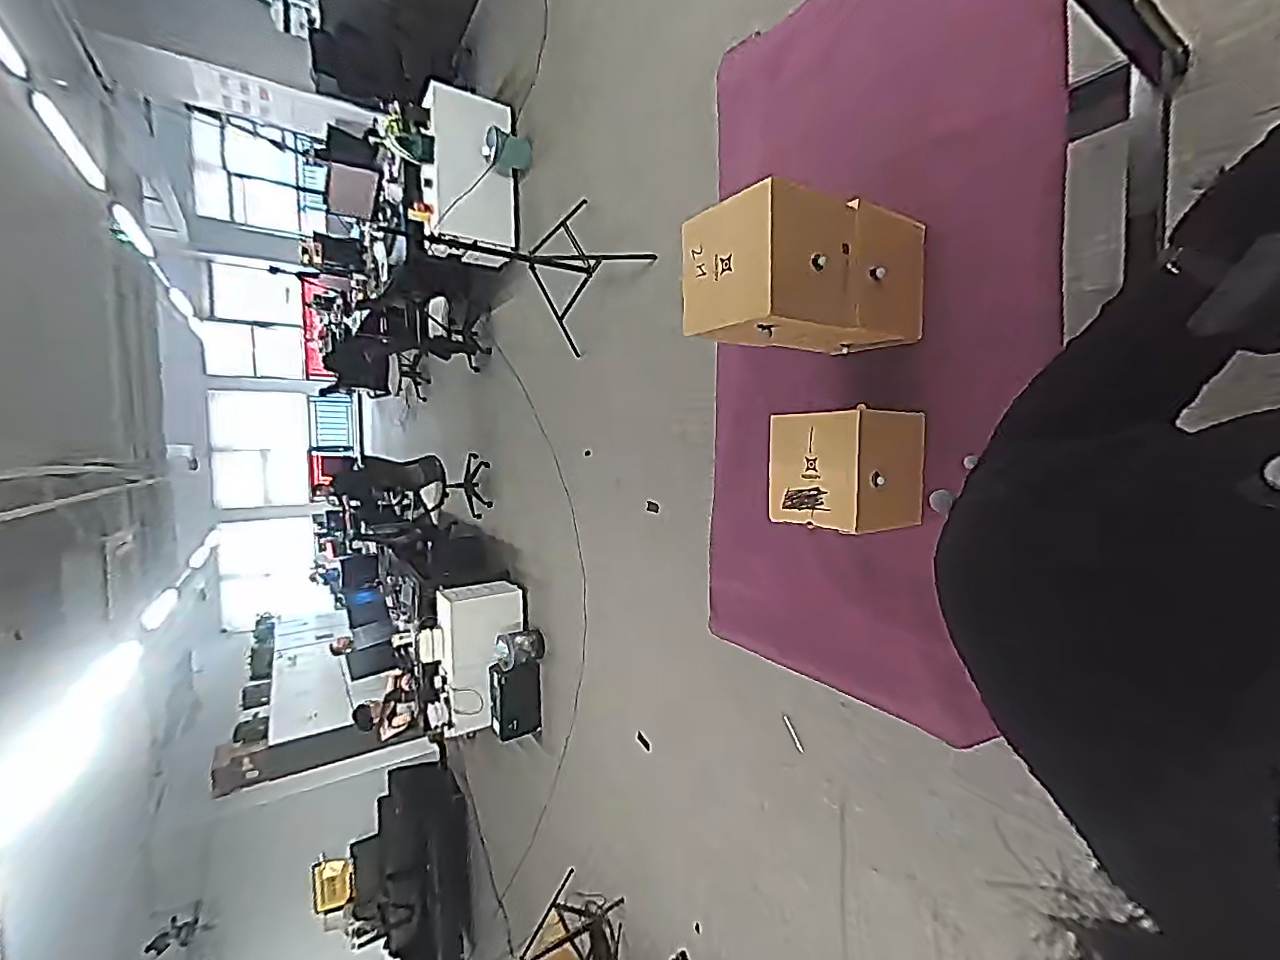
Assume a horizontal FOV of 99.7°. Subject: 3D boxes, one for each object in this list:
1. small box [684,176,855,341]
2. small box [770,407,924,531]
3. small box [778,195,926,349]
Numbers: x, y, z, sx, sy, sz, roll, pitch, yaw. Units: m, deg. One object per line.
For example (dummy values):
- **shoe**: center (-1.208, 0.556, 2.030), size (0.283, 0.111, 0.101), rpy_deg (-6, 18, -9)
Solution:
- **small box**: center (0.181, -0.295, 0.763), size (0.179, 0.176, 0.168), rpy_deg (7, 99, 57)
- **small box**: center (0.327, -0.023, 0.858), size (0.168, 0.176, 0.179), rpy_deg (6, 97, 56)
- **small box**: center (0.323, -0.310, 0.845), size (0.168, 0.176, 0.179), rpy_deg (7, 99, 57)
